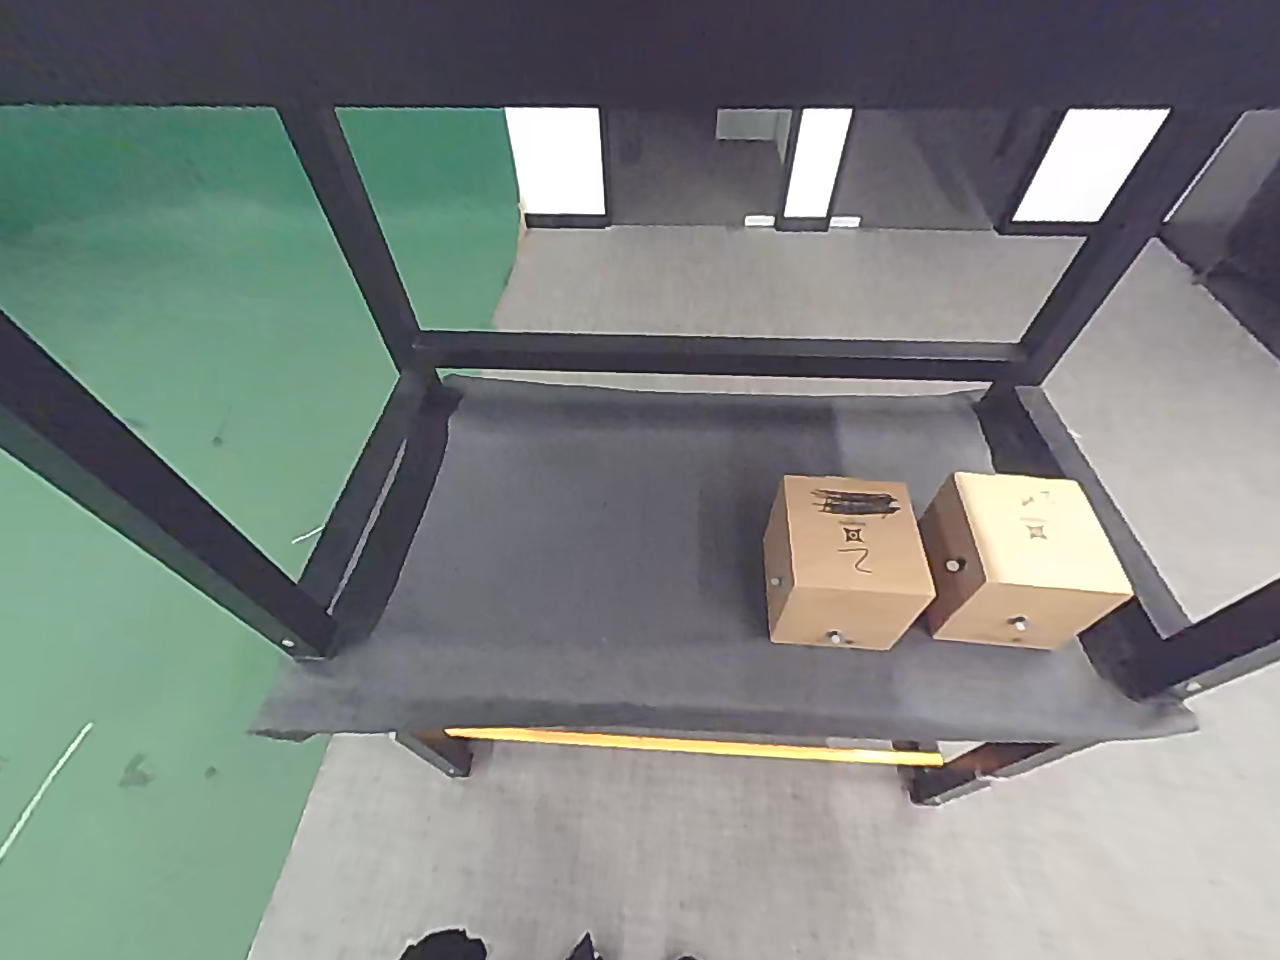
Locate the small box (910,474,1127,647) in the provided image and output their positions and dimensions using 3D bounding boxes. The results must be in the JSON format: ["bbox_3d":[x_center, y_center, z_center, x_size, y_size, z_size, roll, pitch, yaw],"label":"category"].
[{"bbox_3d":[0.501,0.115,0.751,0.168,0.176,0.179,5,51,5],"label":"small box"}]
